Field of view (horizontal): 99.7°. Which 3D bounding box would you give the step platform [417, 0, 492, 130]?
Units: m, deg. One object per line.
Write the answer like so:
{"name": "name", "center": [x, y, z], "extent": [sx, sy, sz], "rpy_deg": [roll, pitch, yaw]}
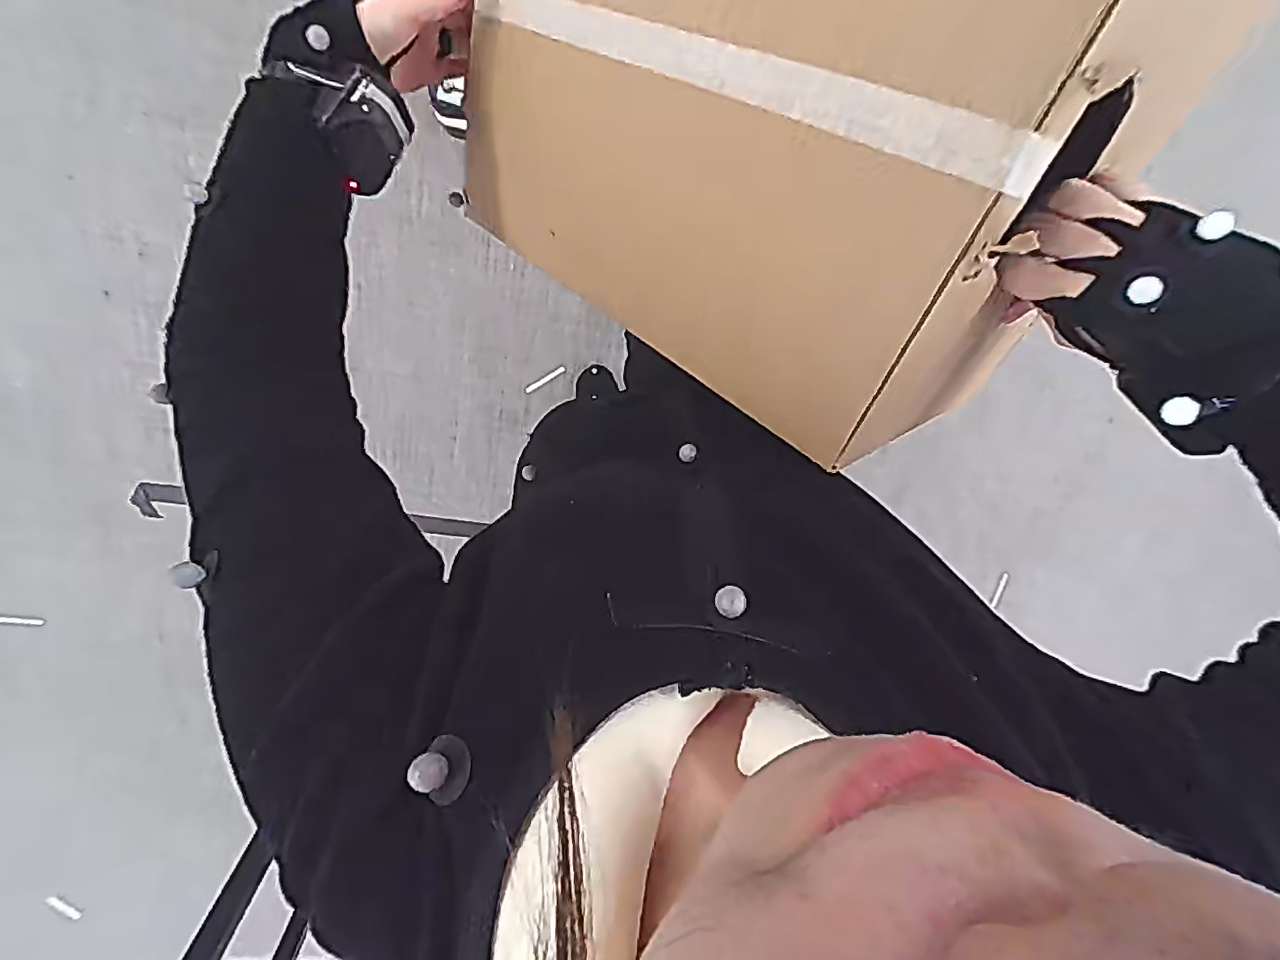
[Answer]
{"name": "step platform", "center": [-0.091, -0.819, 1.120], "extent": [0.684, 0.204, 0.286], "rpy_deg": [14, 106, -10]}

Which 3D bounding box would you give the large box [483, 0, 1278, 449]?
{"name": "large box", "center": [0.132, -0.282, 0.398], "extent": [0.320, 0.408, 0.320], "rpy_deg": [-20, 141, -41]}
